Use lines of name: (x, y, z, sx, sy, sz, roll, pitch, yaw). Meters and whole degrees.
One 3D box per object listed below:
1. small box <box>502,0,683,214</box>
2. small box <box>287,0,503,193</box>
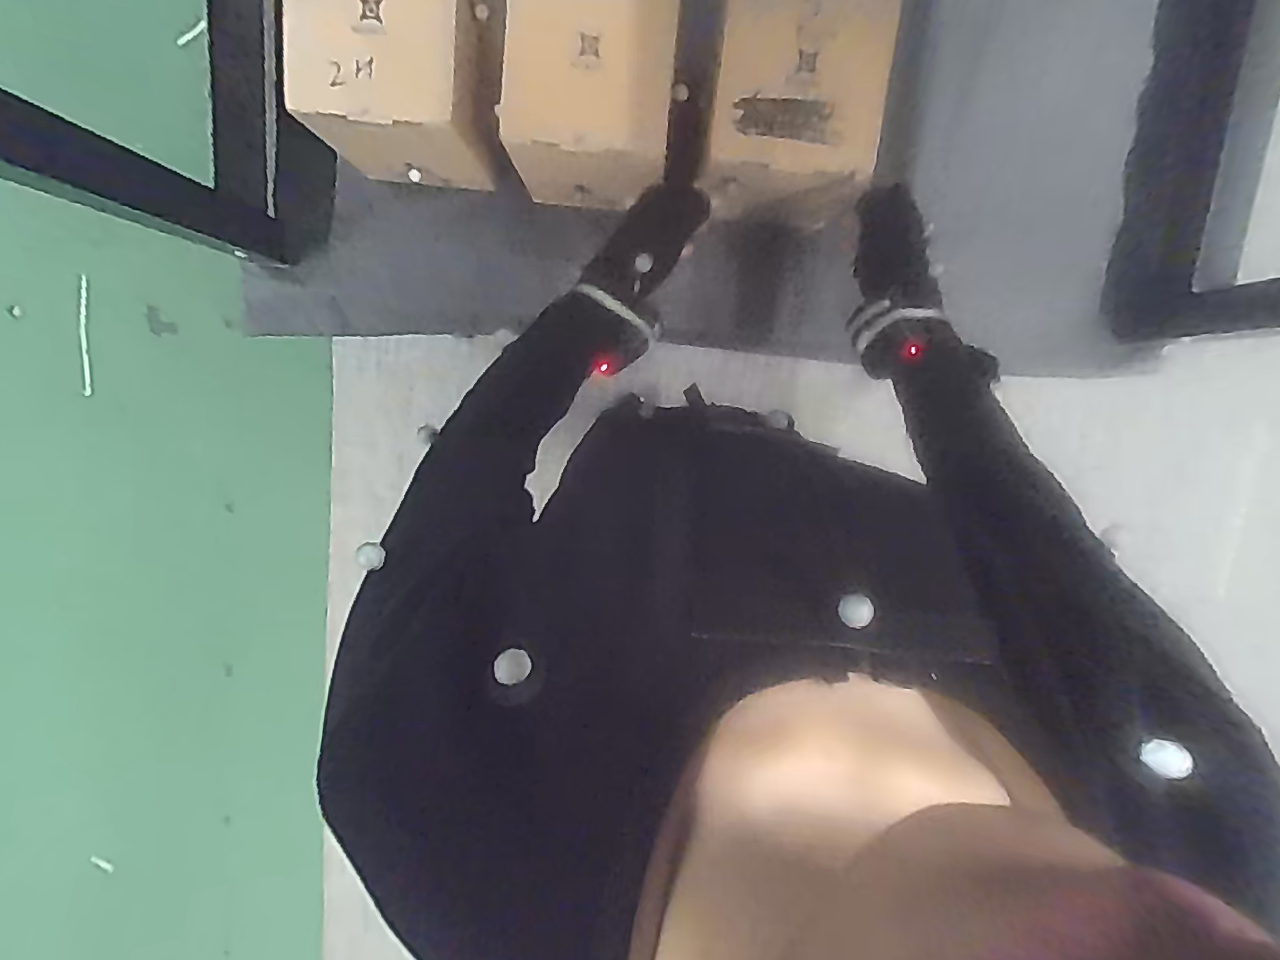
small box: (-0.048, -0.424, 0.604, 0.168, 0.176, 0.179, 5, 99, -1)
small box: (-0.255, -0.449, 0.598, 0.168, 0.176, 0.179, 5, 98, -1)
